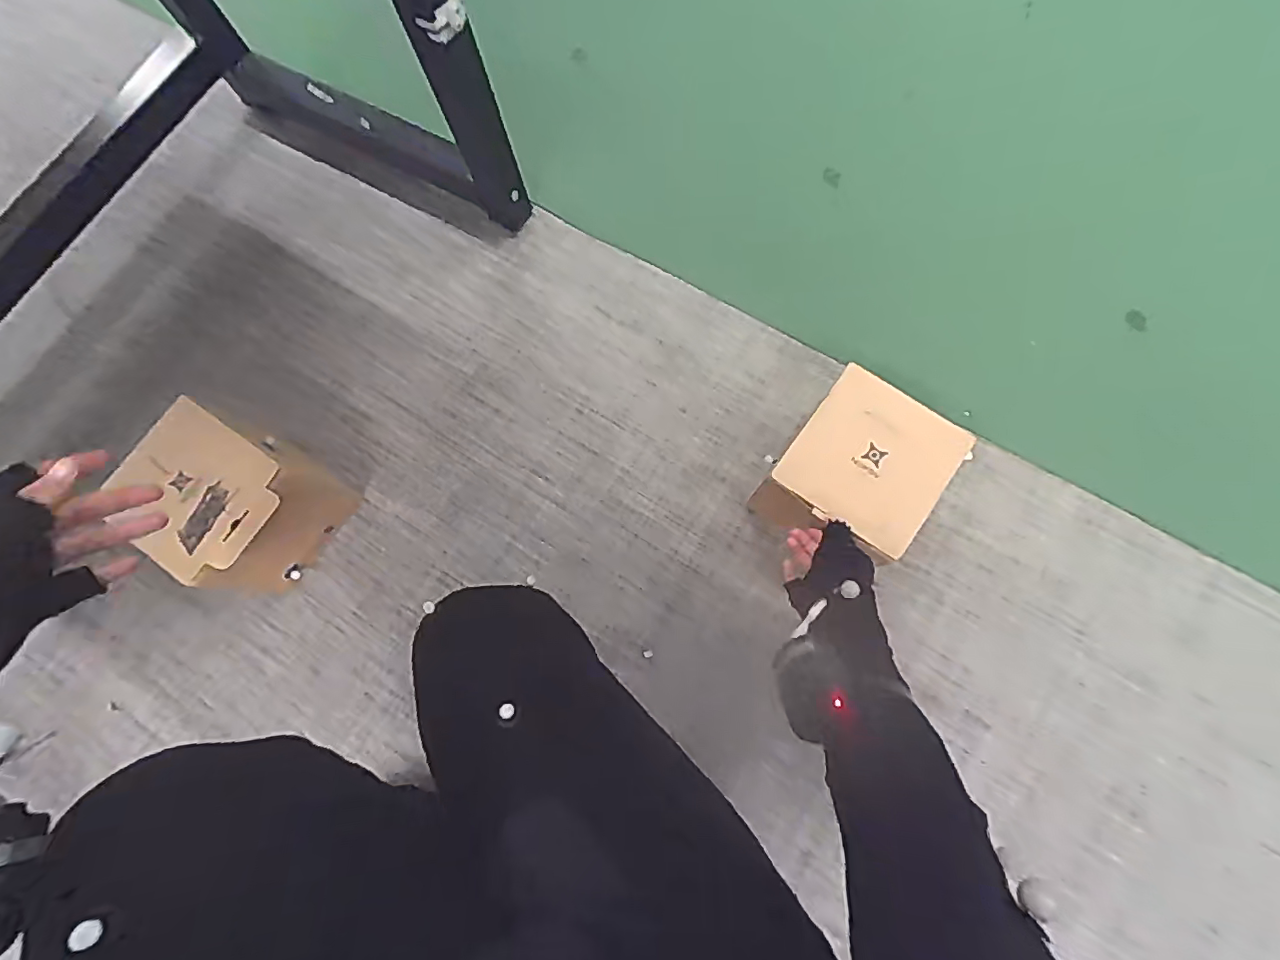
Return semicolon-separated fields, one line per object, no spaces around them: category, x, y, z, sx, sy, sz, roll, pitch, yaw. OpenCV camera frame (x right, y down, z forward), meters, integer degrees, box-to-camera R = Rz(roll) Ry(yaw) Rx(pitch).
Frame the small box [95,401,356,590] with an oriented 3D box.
small box;-0.523;0.029;0.711;0.179;0.176;0.168;32;81;11
